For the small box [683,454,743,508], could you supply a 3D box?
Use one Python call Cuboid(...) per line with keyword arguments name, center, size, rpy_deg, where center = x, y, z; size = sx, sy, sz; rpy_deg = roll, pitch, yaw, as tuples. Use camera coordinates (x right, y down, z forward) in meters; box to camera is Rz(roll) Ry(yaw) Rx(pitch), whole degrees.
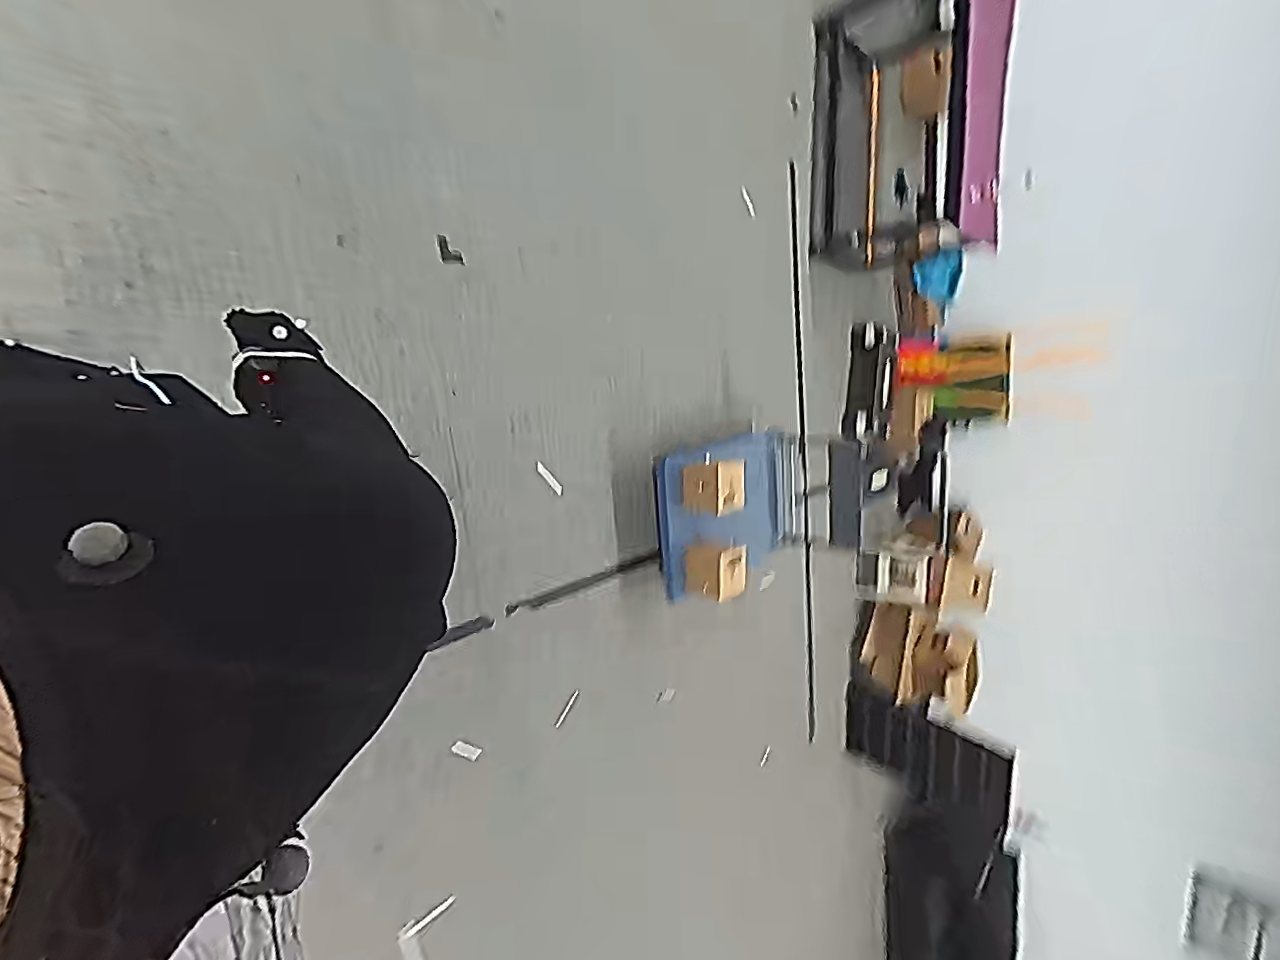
Cuboid(name="small box", center=(0.276, -0.001, 2.054), size=(0.168, 0.176, 0.179), rpy_deg=(-10, 101, -44))
